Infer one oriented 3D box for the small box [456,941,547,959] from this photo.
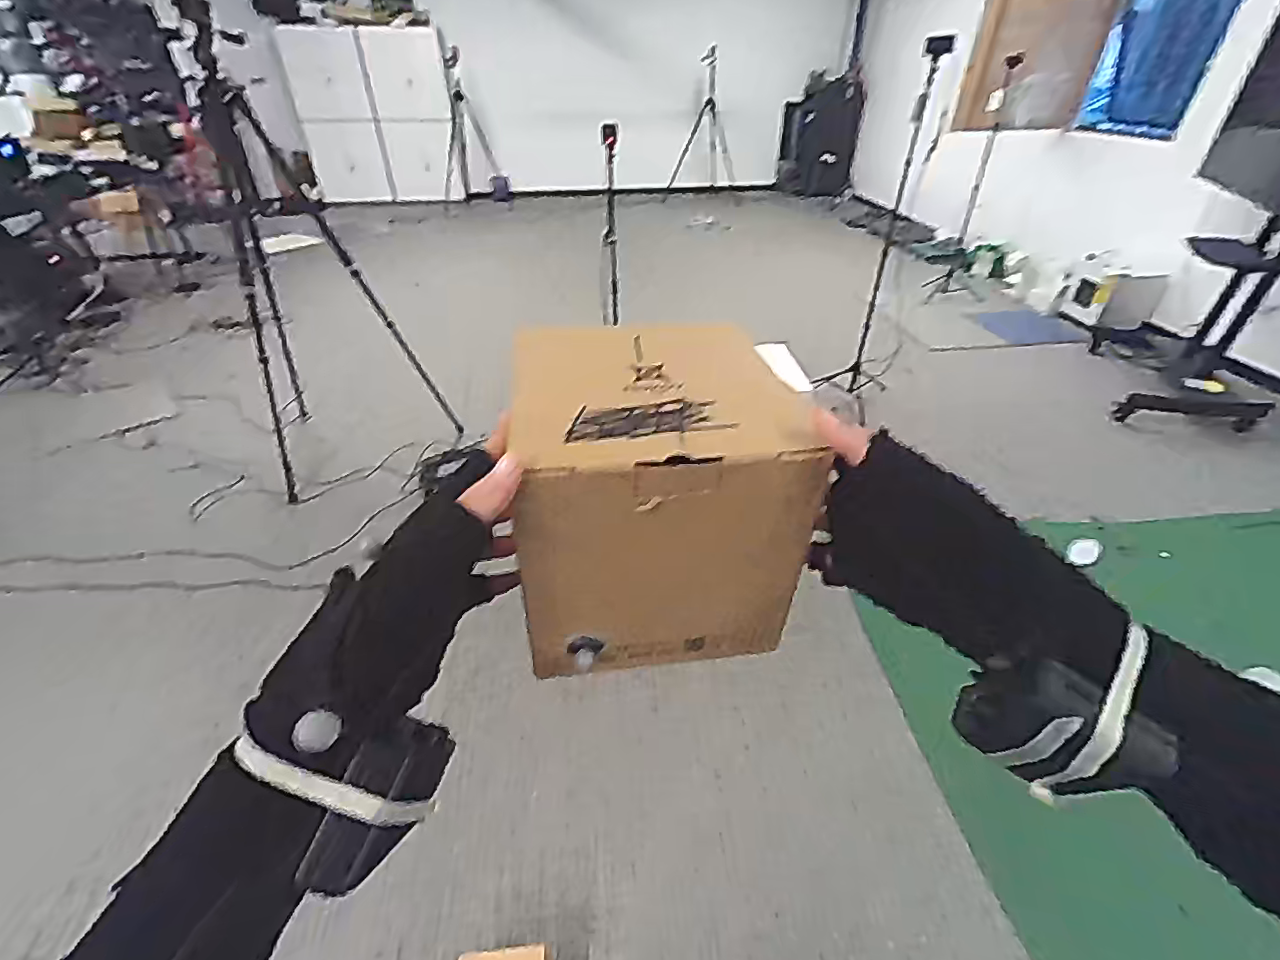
[{"bbox_3d":[-0.261,1.011,1.017,0.168,0.176,0.179,-4,37,-4],"label":"small box"}]
